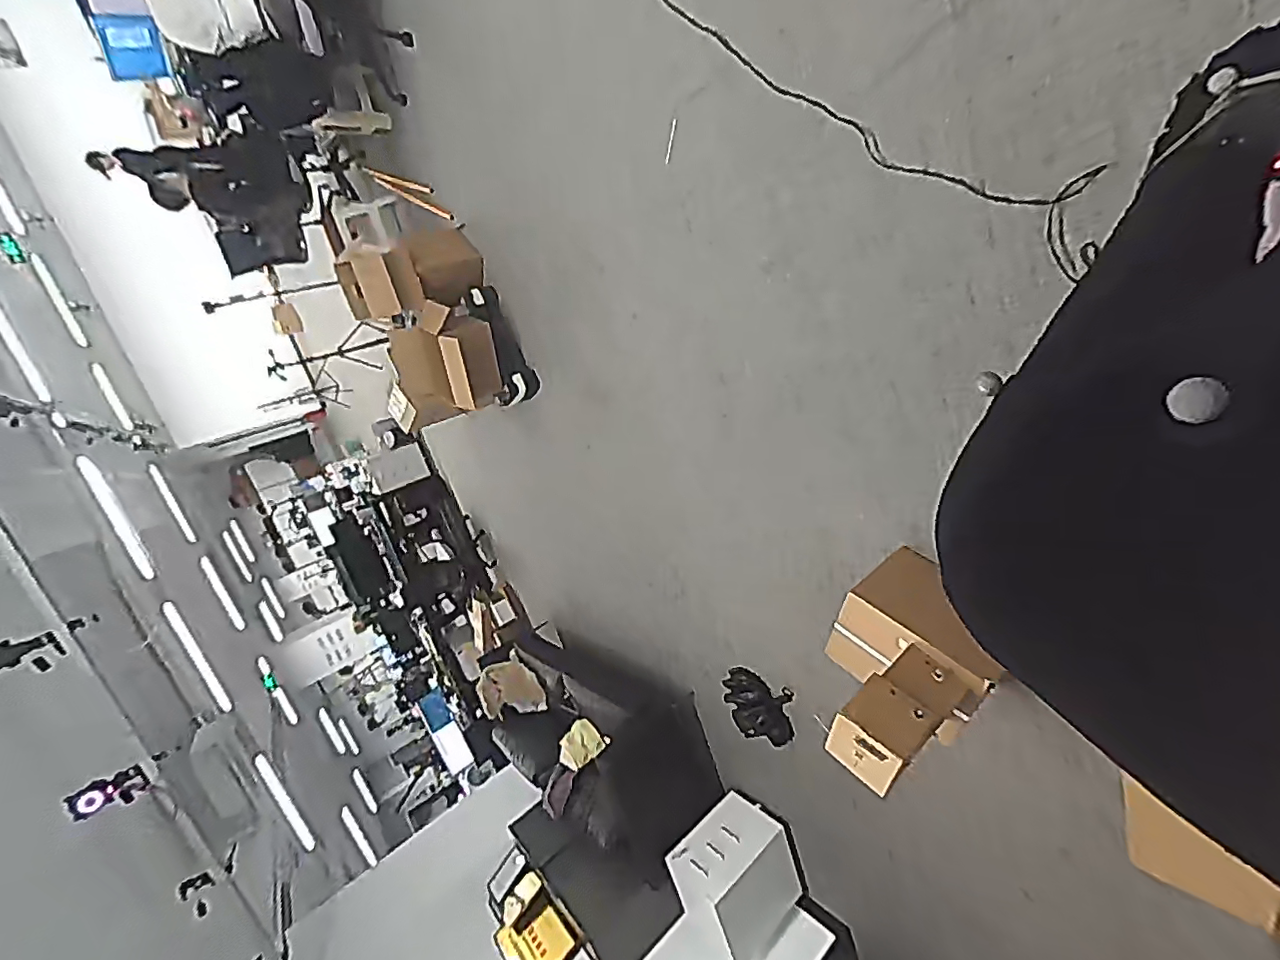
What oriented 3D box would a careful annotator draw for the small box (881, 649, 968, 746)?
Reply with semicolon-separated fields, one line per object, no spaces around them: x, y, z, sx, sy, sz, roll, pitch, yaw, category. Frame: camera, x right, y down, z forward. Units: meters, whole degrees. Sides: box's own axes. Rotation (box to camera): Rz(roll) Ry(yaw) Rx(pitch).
0.723;0.585;1.423;0.168;0.176;0.179;38;138;35;small box

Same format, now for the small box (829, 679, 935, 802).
0.595;0.631;1.329;0.168;0.176;0.179;31;134;41;small box
